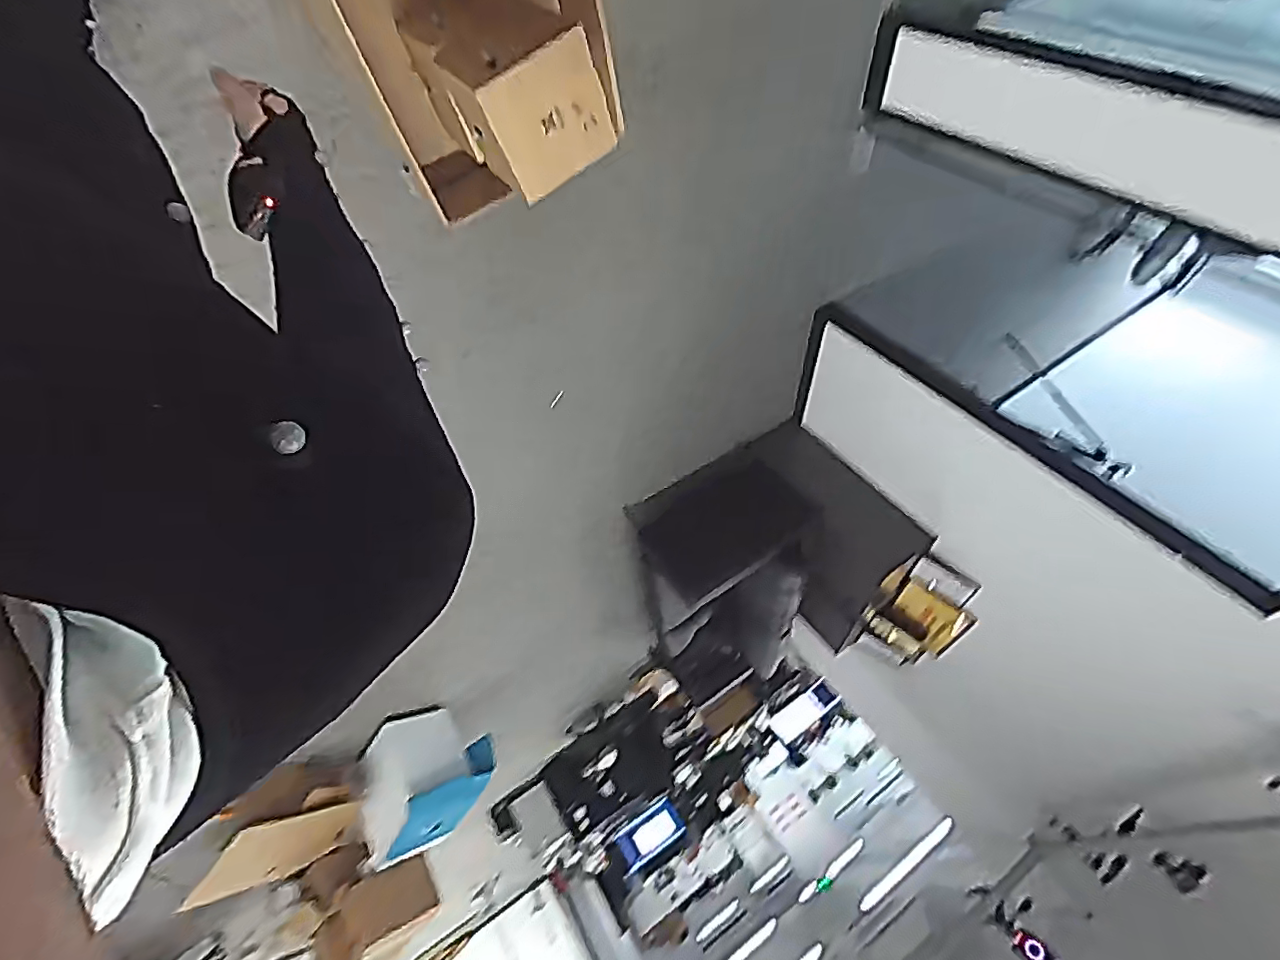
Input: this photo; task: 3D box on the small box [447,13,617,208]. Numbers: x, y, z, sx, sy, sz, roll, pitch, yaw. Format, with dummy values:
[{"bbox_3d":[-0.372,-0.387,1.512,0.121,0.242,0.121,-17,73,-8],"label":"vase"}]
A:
[{"bbox_3d":[-0.167,-0.558,0.818,0.179,0.176,0.168,-36,148,-5],"label":"small box"}]
